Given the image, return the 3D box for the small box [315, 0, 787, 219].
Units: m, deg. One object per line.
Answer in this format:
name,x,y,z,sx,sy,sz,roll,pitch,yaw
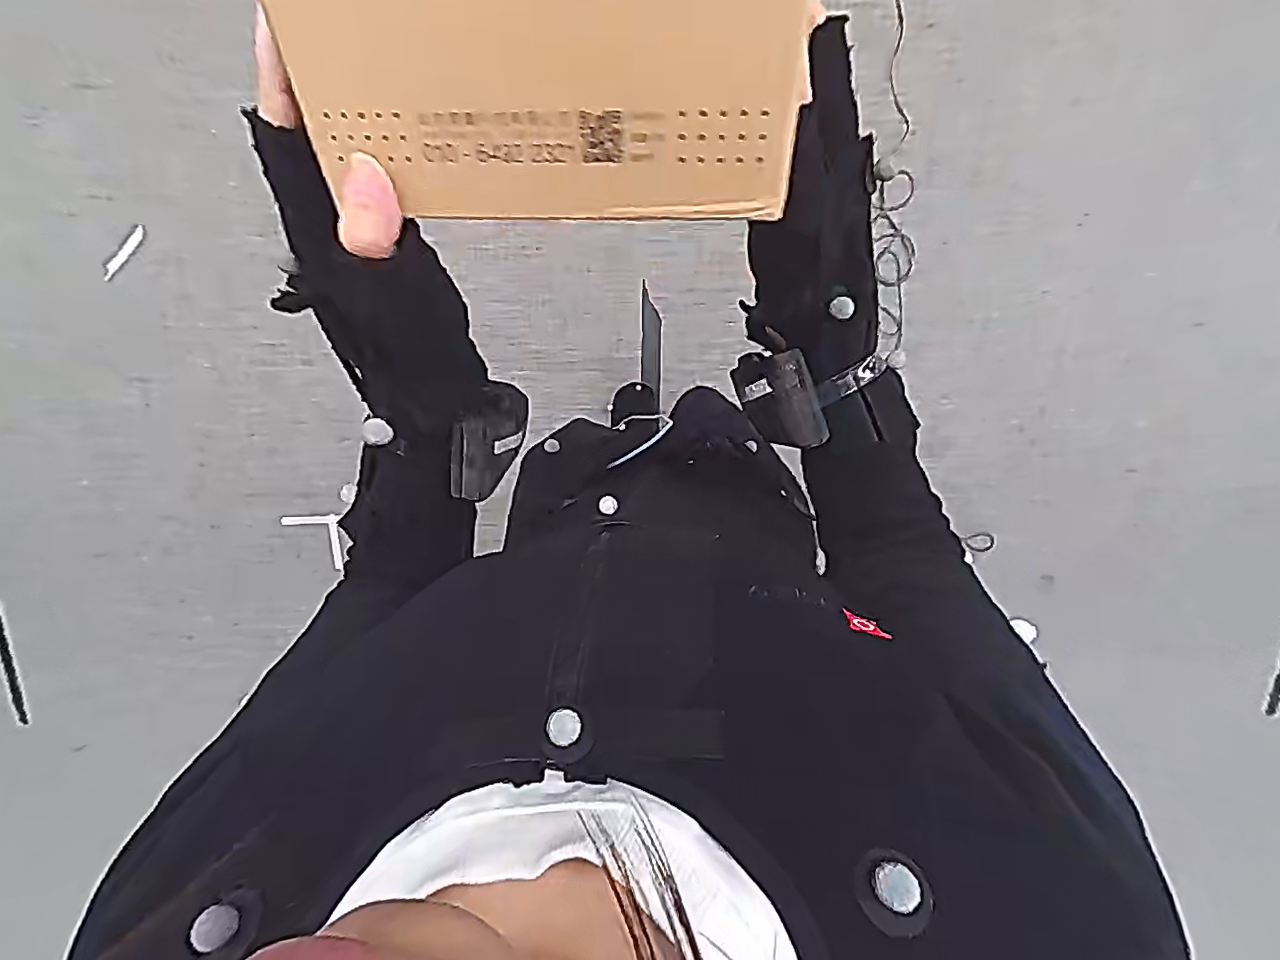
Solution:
small box,-0.022,-0.220,0.224,0.168,0.179,0.176,6,132,8
